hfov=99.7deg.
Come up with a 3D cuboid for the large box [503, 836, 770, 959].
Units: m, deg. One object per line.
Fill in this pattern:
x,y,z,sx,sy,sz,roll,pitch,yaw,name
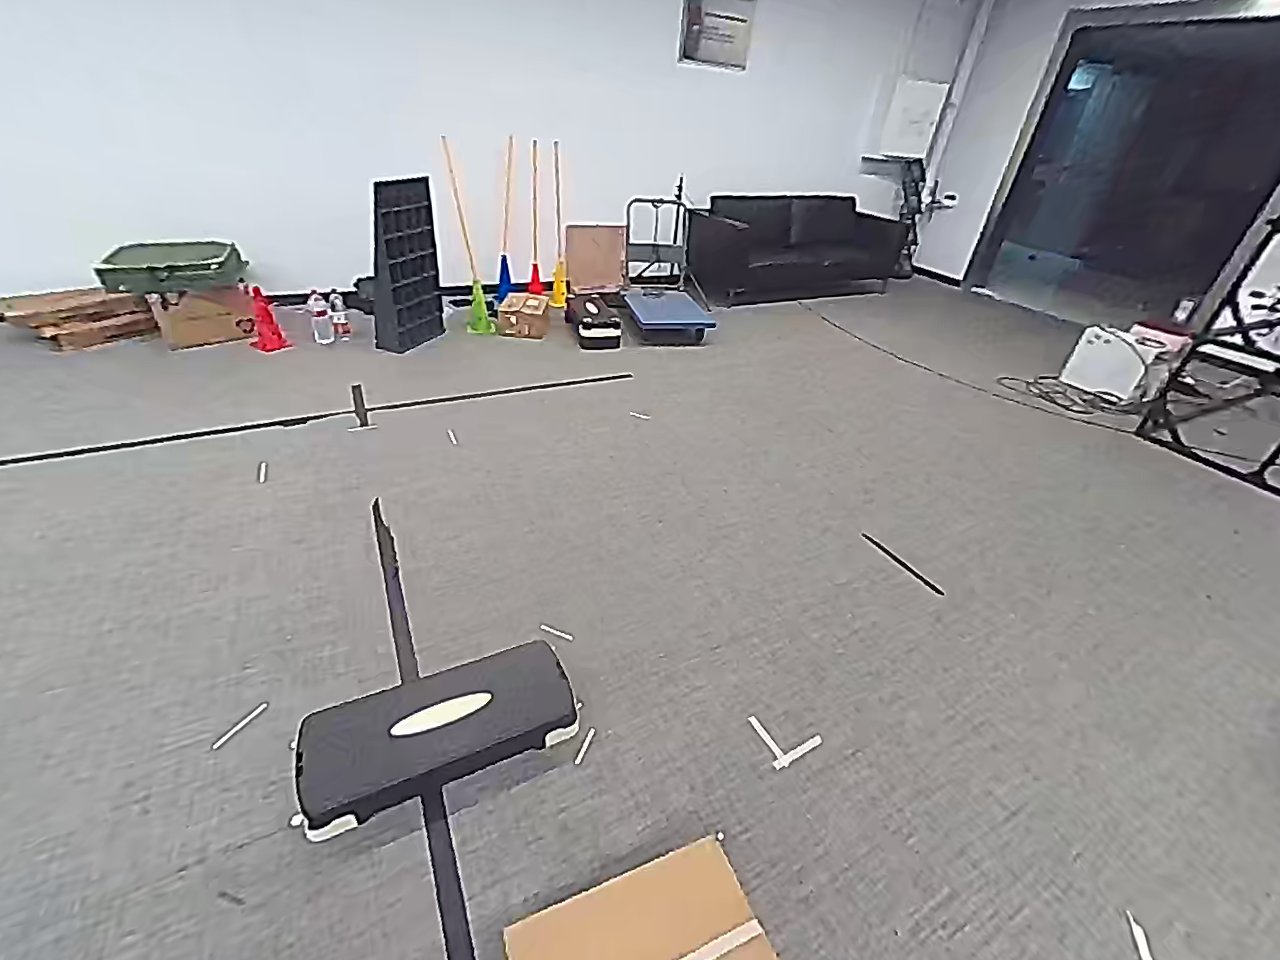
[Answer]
0.002,0.920,0.929,0.408,0.320,0.320,-9,37,-22,large box
